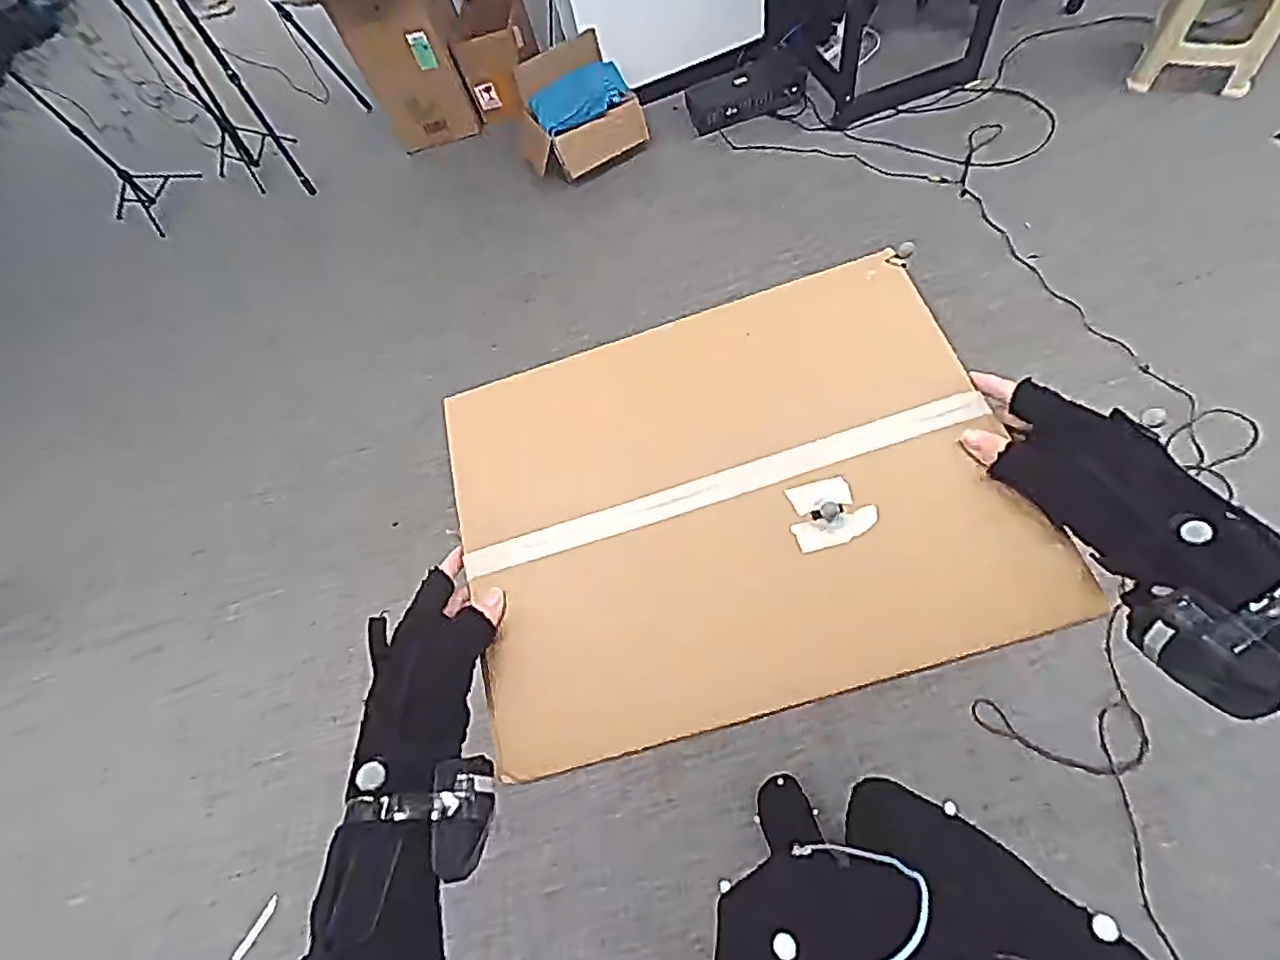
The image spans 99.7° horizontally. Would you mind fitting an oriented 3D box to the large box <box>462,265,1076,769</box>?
[{"bbox_3d":[0.087,0.060,0.561,0.408,0.320,0.320,-18,68,3],"label":"large box"}]
